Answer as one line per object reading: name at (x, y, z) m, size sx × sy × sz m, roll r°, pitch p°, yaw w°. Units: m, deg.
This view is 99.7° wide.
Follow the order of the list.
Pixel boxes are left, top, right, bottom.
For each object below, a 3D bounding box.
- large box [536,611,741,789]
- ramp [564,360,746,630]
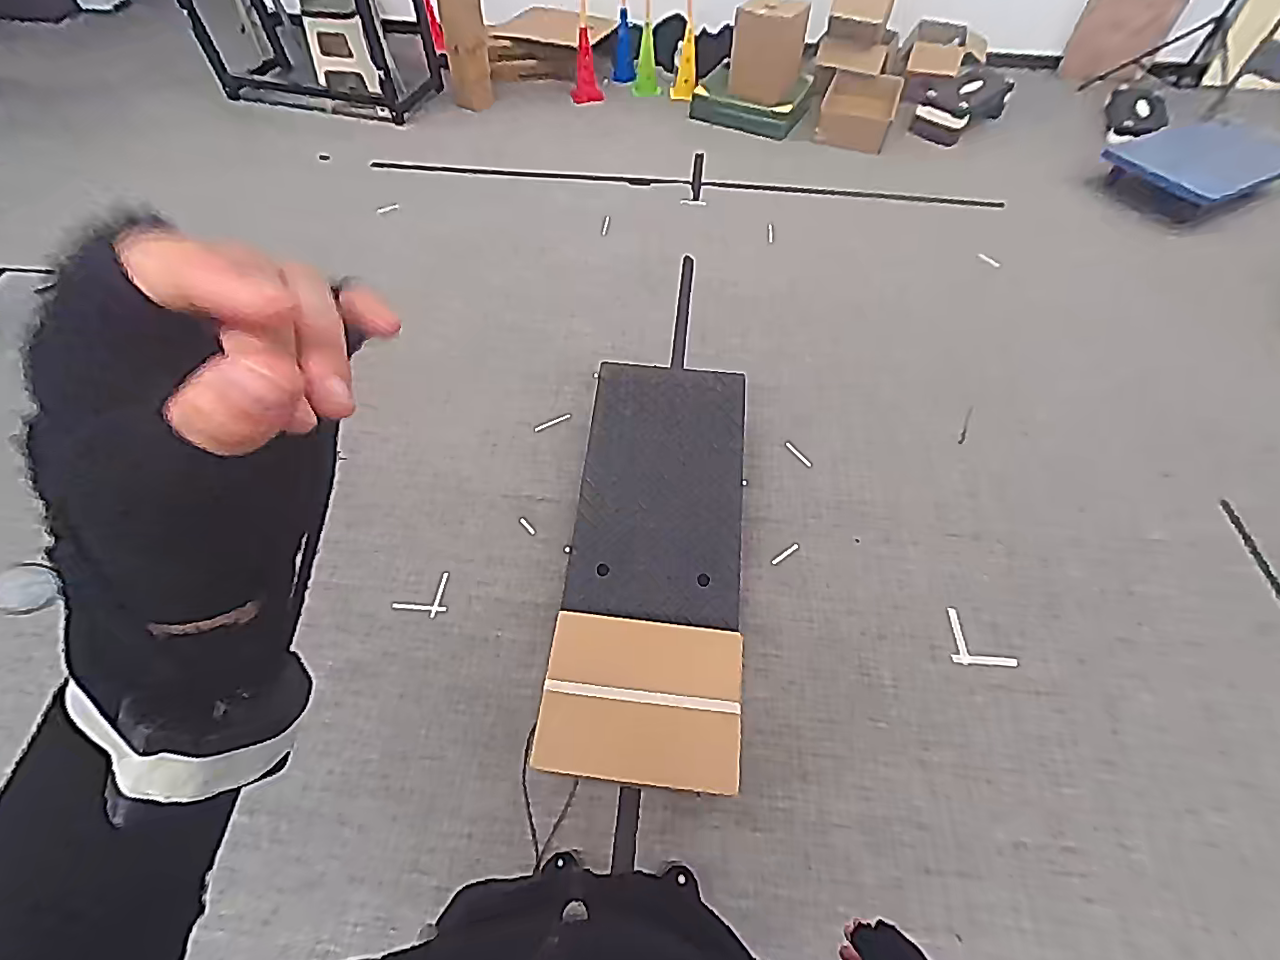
large box at (0.010, 0.513, 1.244) m, size 0.408 × 0.320 × 0.320 m, roll 6°, pitch 59°, yaw 3°
ramp at (0.068, 0.068, 1.628) m, size 0.509 × 0.206 × 0.991 m, roll 5°, pitch 56°, yaw 1°
